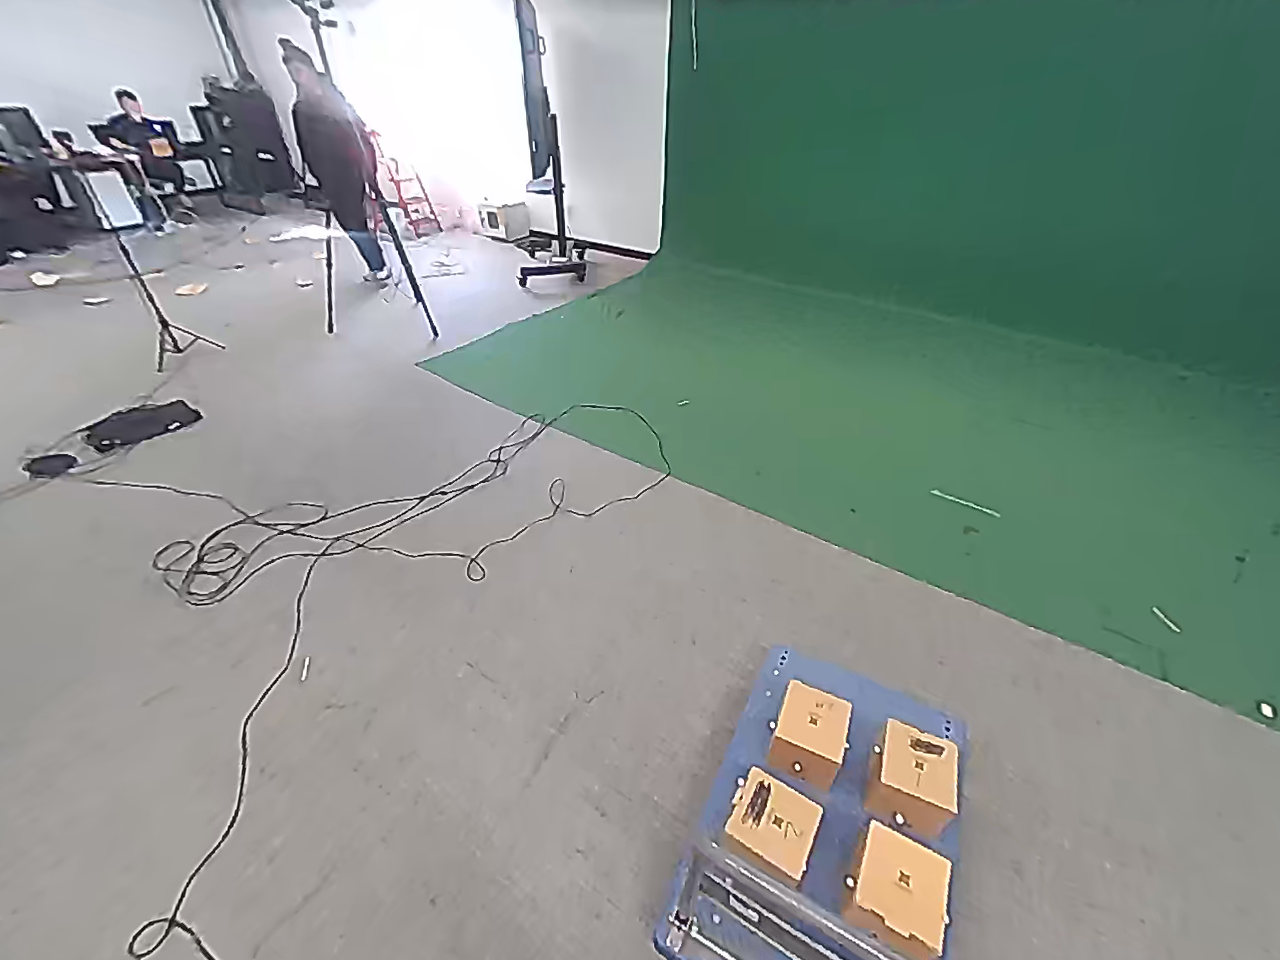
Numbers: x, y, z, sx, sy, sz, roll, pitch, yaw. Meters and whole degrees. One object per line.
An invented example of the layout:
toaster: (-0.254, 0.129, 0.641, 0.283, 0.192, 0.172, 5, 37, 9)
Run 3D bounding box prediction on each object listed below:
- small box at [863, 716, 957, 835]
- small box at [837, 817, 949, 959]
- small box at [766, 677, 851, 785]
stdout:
small box: (0.672, 0.738, 1.353, 0.168, 0.176, 0.179, 17, 42, 20)
small box: (0.541, 0.886, 1.168, 0.168, 0.176, 0.179, 21, 43, 22)
small box: (0.443, 0.669, 1.435, 0.168, 0.176, 0.179, 18, 42, 19)
